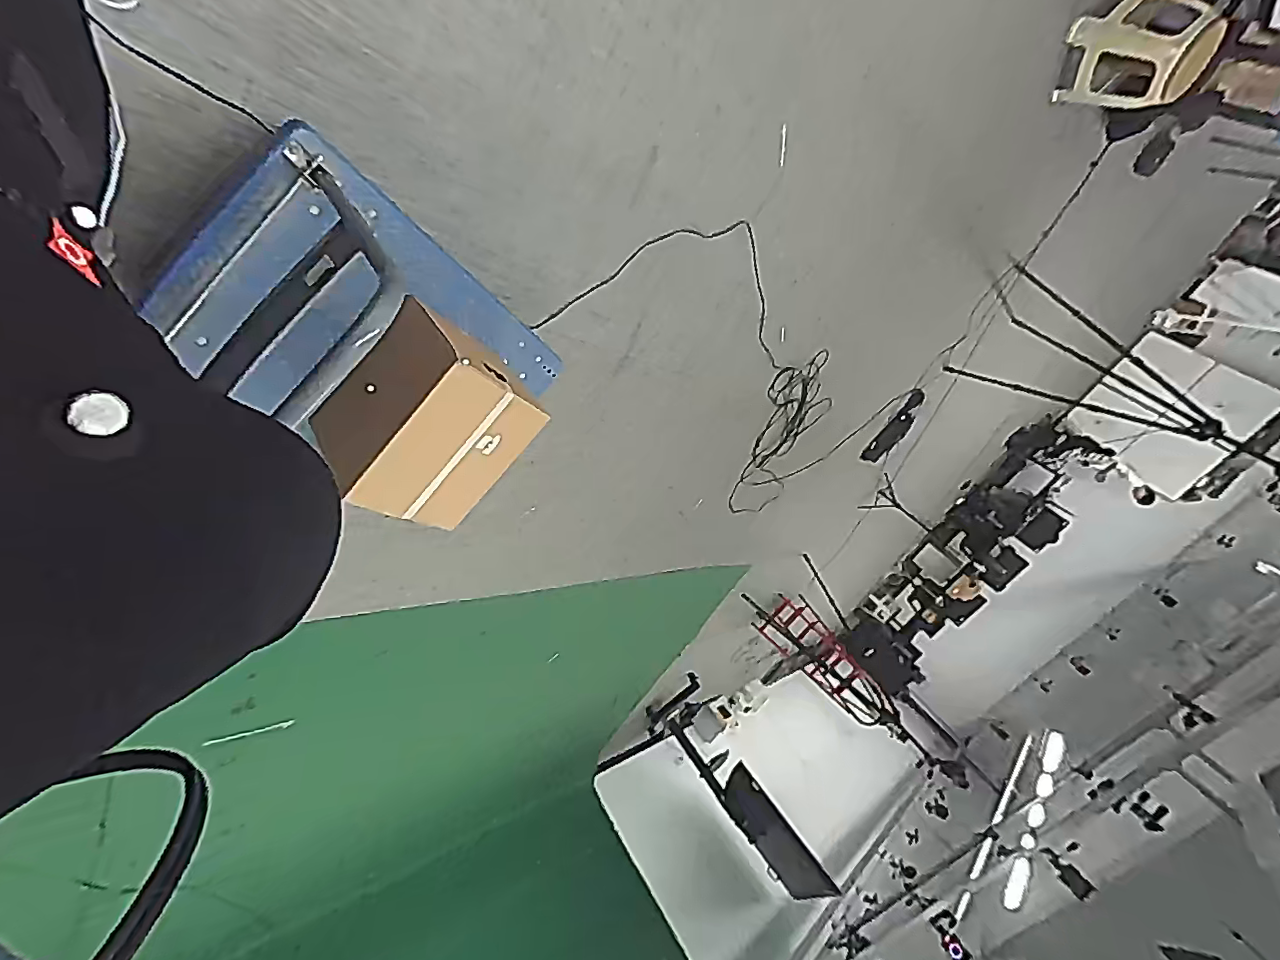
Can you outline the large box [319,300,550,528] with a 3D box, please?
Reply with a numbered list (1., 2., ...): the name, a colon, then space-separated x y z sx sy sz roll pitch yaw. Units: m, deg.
1. large box: -0.512 -0.151 1.341 0.408 0.320 0.320 -49 147 8
